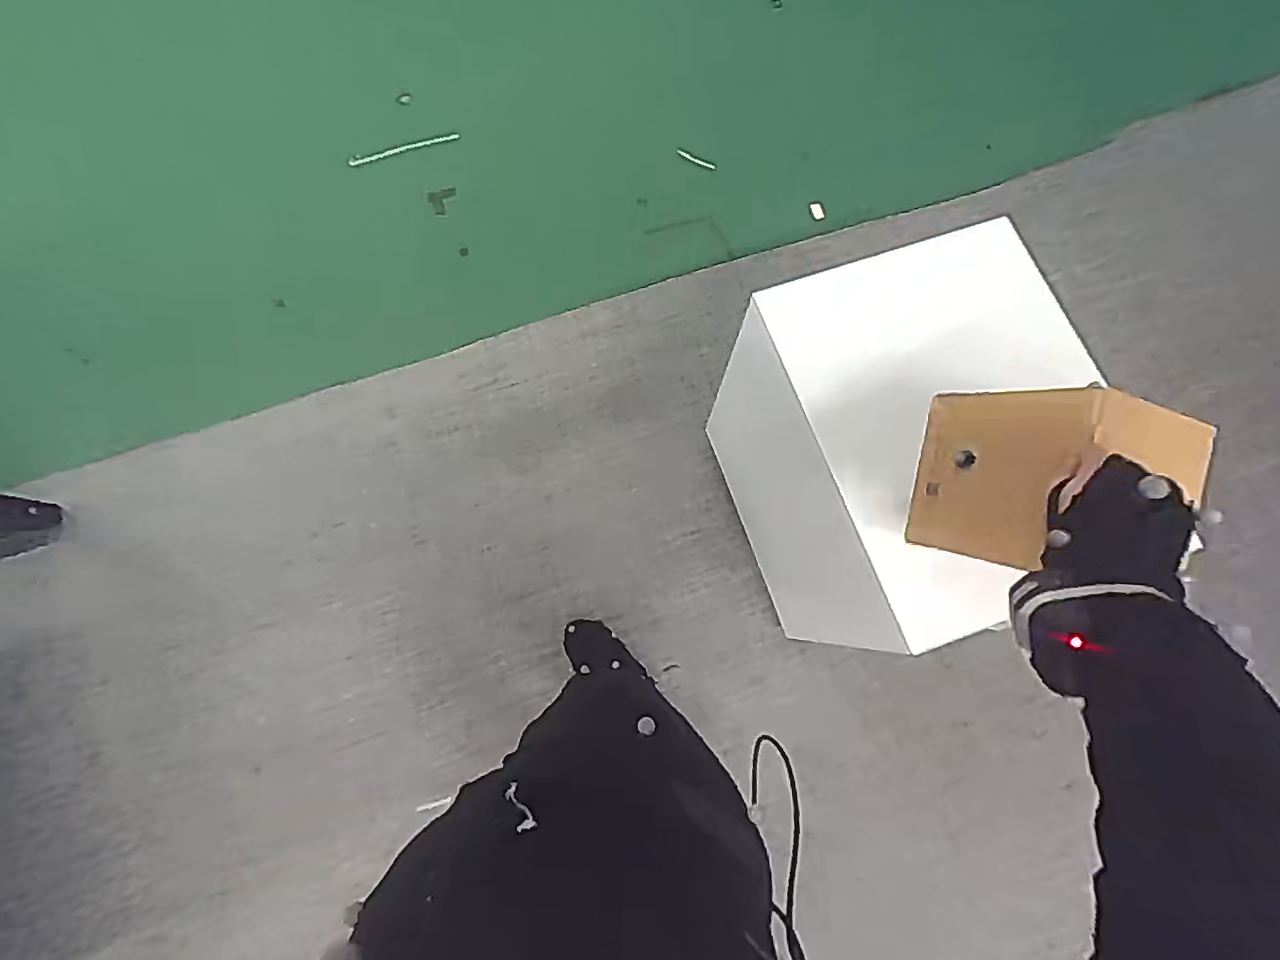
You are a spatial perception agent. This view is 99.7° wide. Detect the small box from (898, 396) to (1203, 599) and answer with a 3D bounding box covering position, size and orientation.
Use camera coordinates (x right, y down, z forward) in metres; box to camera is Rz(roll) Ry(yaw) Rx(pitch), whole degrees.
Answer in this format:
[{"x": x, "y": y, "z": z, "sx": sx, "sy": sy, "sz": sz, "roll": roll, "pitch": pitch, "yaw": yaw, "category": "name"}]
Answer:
[{"x": 0.406, "y": 0.014, "z": 0.555, "sx": 0.179, "sy": 0.176, "sz": 0.168, "roll": 9, "pitch": 91, "yaw": -20, "category": "small box"}]
